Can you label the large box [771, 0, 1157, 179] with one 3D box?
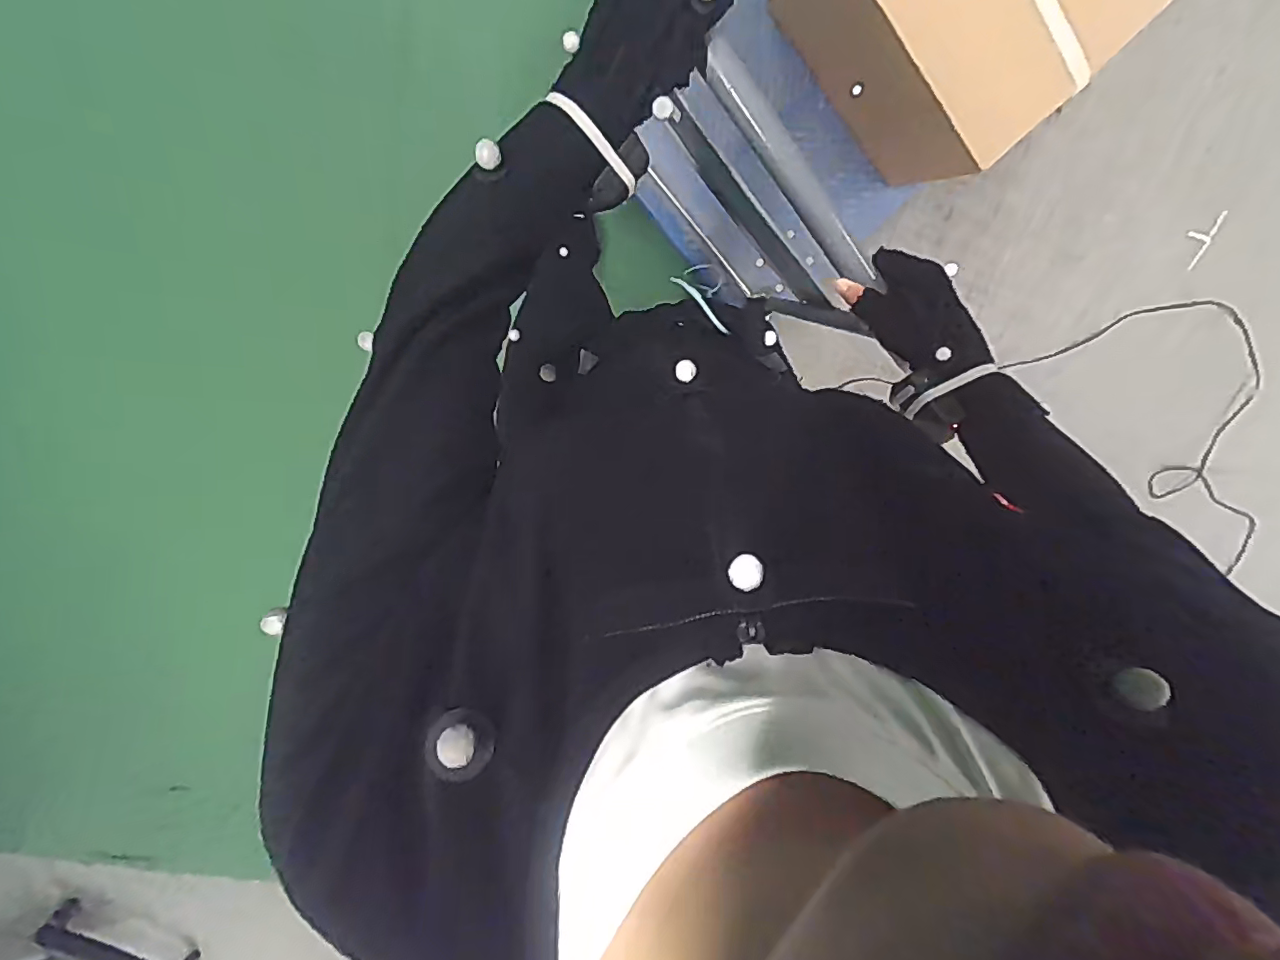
[{"bbox_3d":[0.476,-0.756,0.843,0.408,0.320,0.320,42,107,-17],"label":"large box"}]
